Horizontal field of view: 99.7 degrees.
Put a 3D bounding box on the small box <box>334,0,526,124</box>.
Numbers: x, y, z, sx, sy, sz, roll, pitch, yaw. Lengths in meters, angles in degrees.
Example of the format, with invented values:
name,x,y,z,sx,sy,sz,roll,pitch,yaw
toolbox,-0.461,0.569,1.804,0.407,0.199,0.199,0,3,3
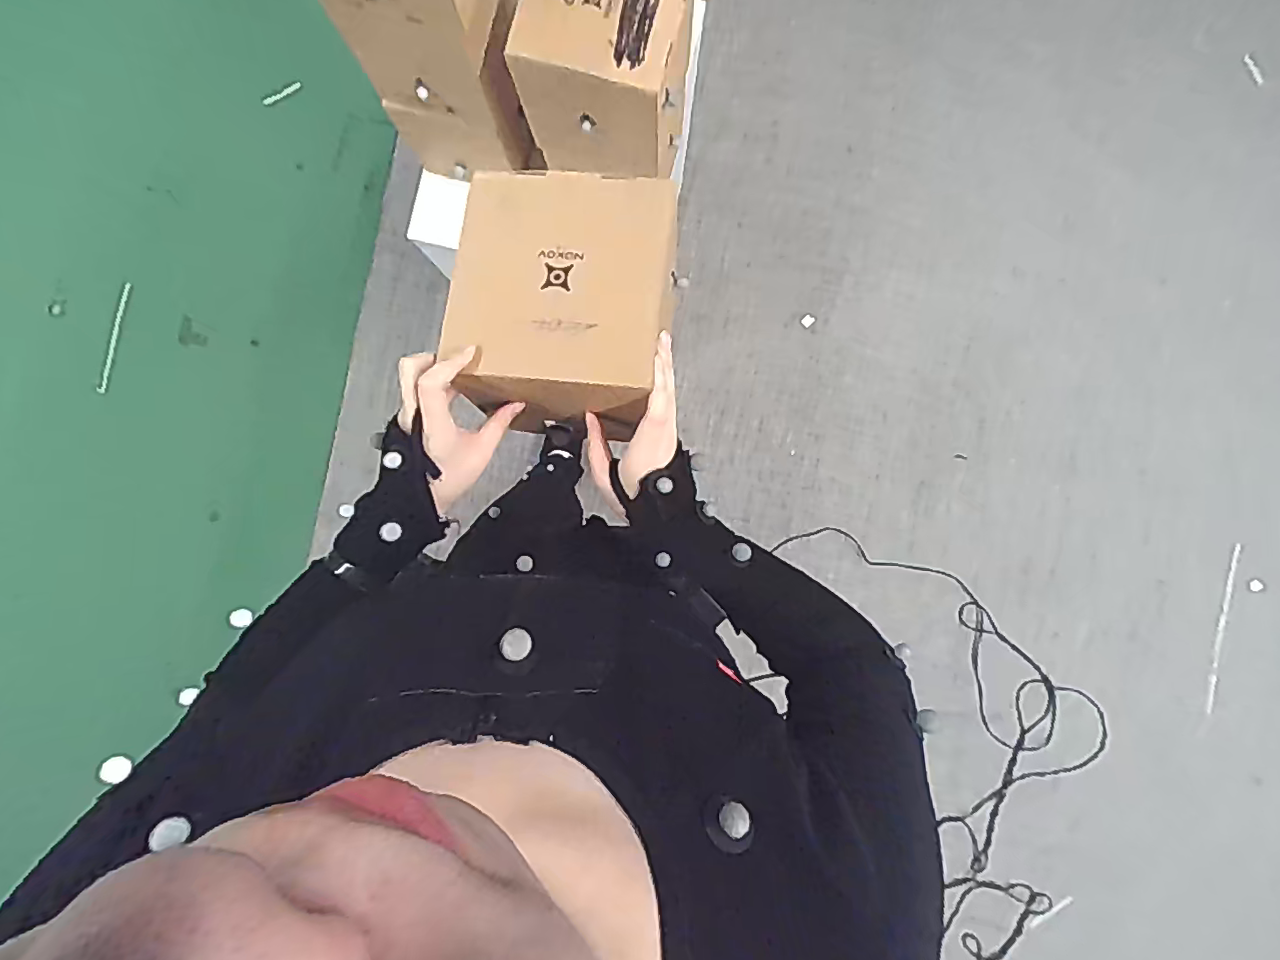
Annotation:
name,x,y,z,sx,sy,sz,roll,pitch,yaw
small box,-0.247,-0.587,0.658,0.168,0.176,0.179,15,90,-1

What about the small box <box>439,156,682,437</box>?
name,x,y,z,sx,sy,sz,roll,pitch,yaw
small box,-0.055,-0.151,0.491,0.168,0.176,0.179,7,80,5

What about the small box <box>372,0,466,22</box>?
name,x,y,z,sx,sy,sz,roll,pitch,yaw
small box,-0.243,-0.578,0.493,0.179,0.176,0.168,16,90,-1

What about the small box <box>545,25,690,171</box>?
name,x,y,z,sx,sy,sz,roll,pitch,yaw
small box,-0.031,-0.522,0.822,0.168,0.176,0.179,16,90,1

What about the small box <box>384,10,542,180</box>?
name,x,y,z,sx,sy,sz,roll,pitch,yaw
small box,-0.255,-0.584,0.822,0.168,0.176,0.179,14,91,-1
